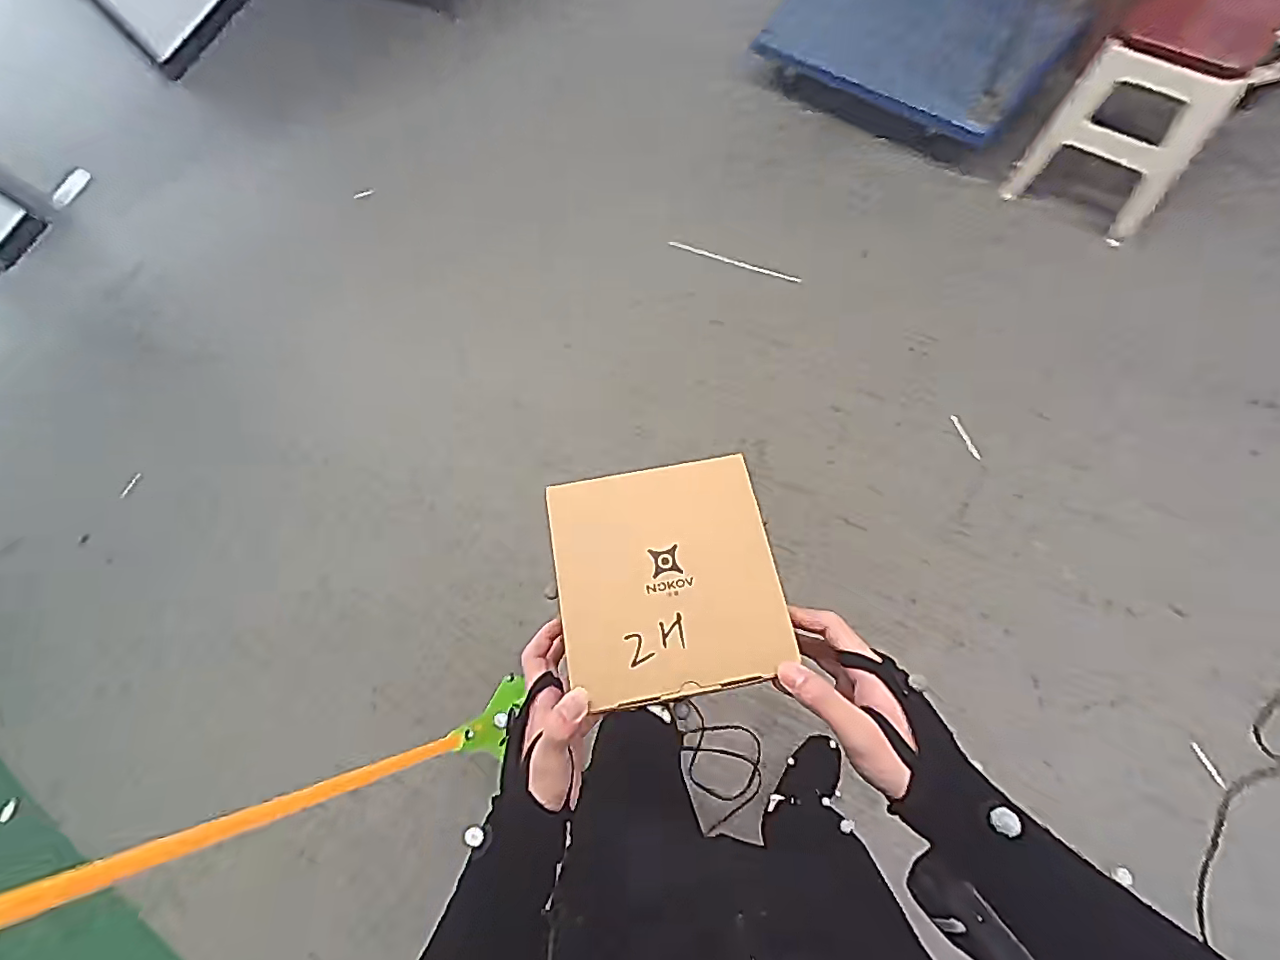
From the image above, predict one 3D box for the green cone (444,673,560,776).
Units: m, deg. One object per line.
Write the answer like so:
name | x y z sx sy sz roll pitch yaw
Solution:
green cone | -0.364 0.597 1.277 0.202 0.368 0.200 27 79 16
